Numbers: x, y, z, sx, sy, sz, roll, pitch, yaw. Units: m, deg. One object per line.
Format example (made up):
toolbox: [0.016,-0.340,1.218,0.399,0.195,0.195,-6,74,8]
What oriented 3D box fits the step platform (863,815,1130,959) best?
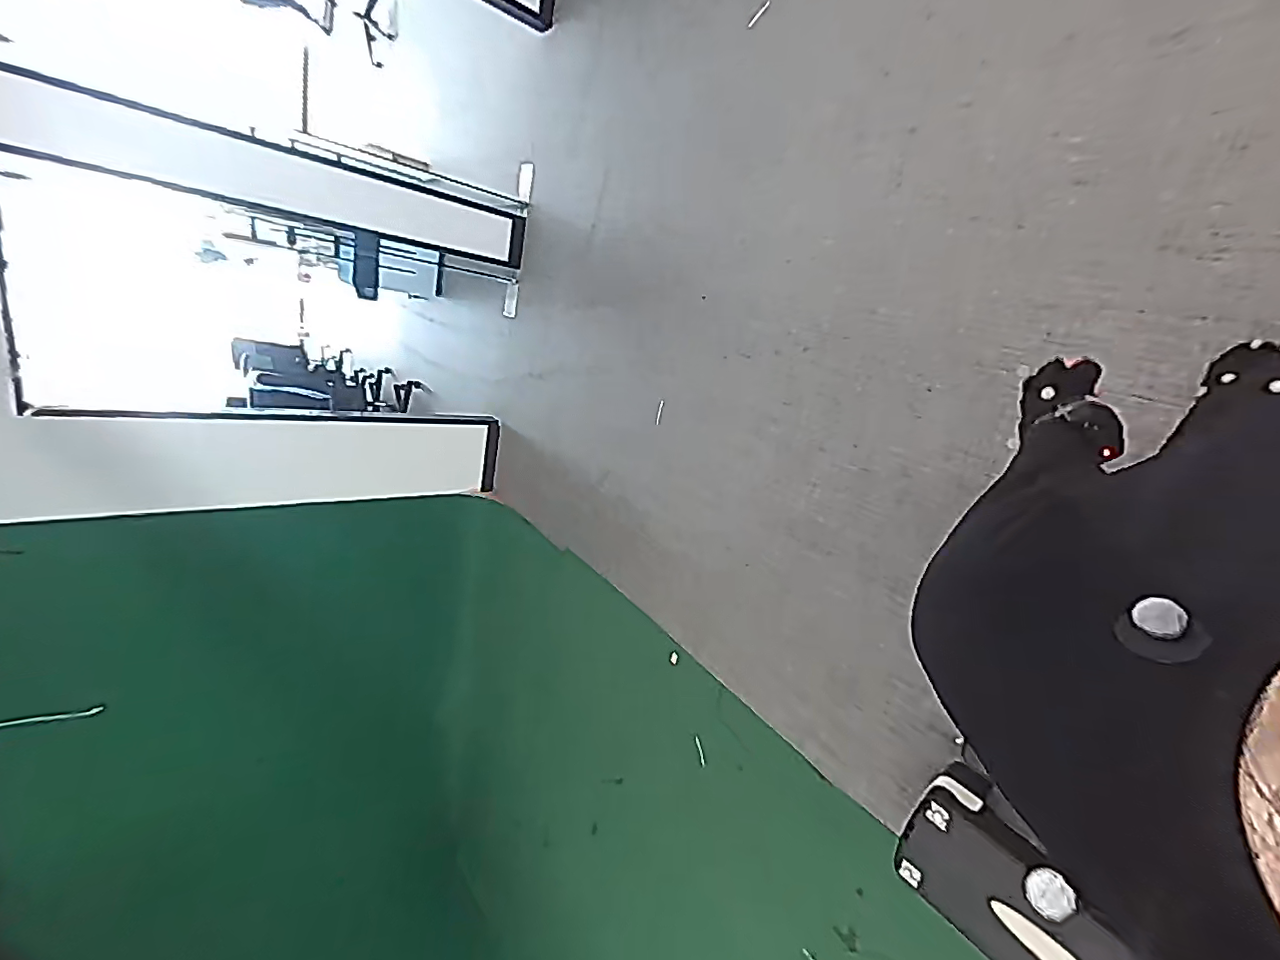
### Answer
step platform: [0.812,1.026,1.050,0.684,0.204,0.286,30,114,44]
